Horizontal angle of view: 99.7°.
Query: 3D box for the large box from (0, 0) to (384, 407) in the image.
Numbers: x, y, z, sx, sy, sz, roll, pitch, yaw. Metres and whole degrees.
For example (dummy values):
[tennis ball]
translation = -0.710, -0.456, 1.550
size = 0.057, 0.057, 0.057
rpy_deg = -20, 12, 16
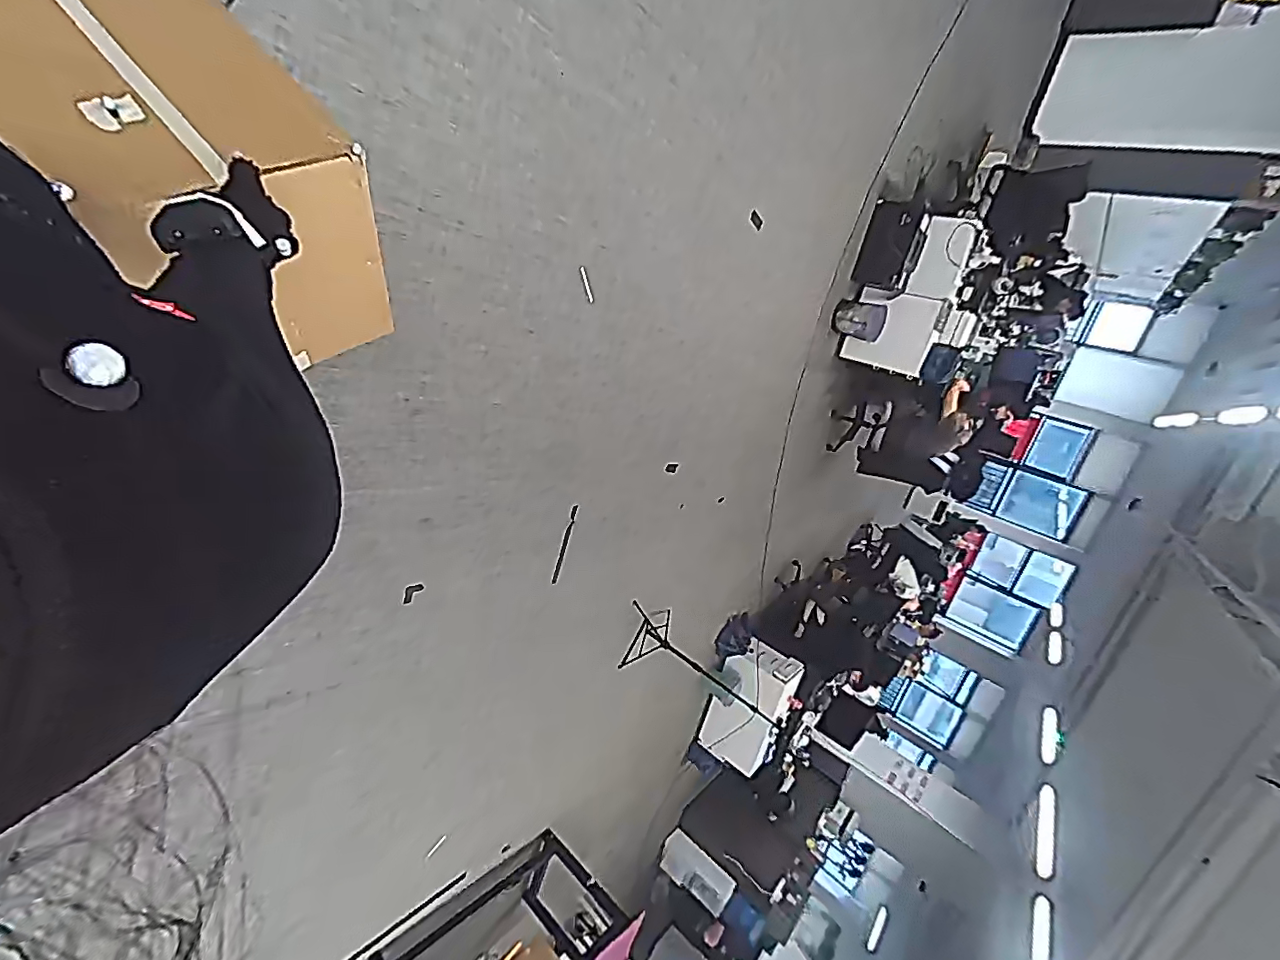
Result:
[large box]
translation = -0.624, -0.385, 0.747
size = 0.320, 0.408, 0.320
rpy_deg = -38, 169, -29
